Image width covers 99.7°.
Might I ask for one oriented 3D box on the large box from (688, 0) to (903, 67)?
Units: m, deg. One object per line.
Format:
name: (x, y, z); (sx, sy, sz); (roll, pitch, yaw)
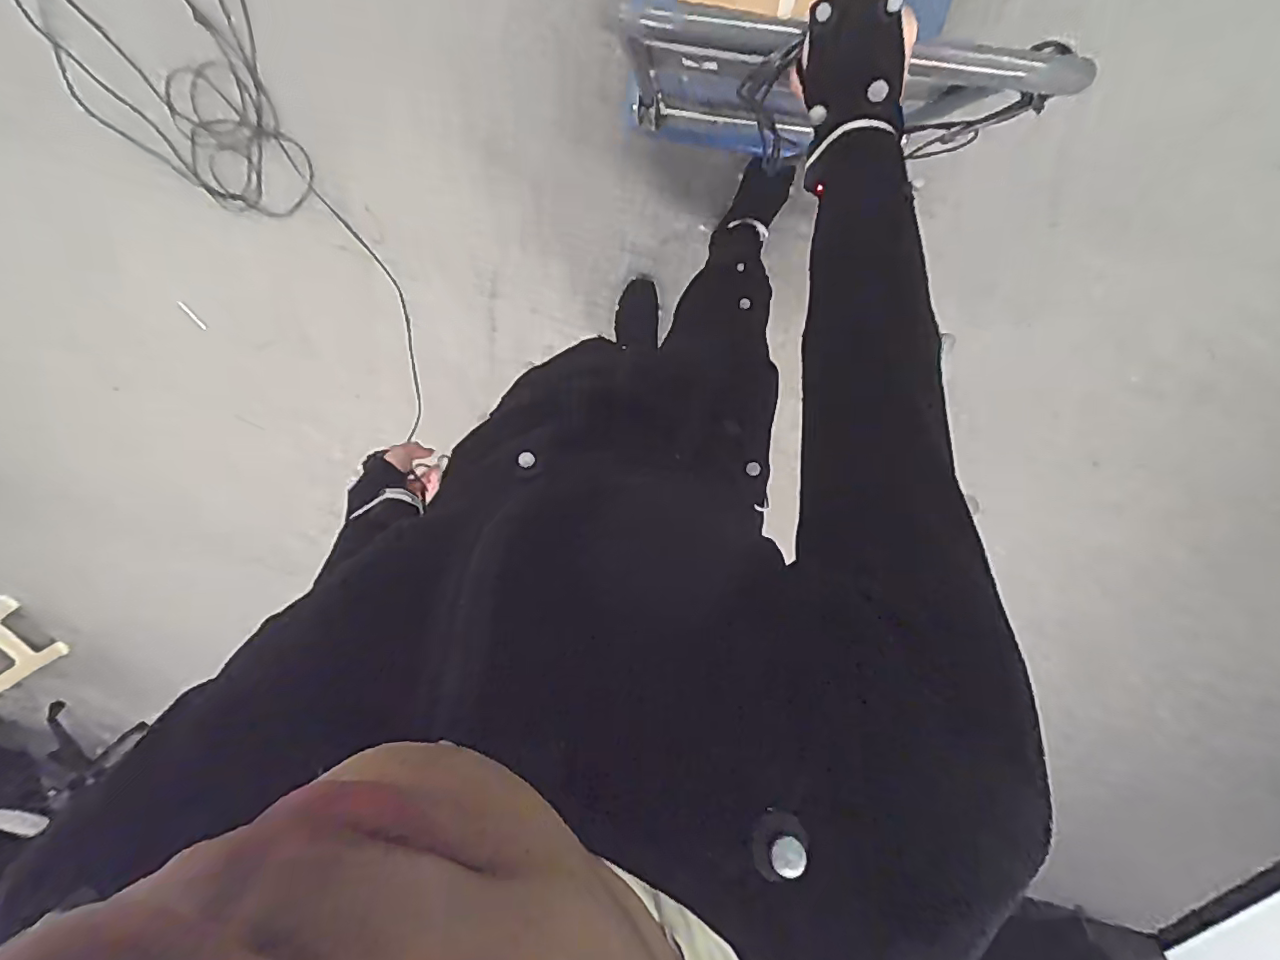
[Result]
large box: (0.257, -0.909, 0.807); (0.320, 0.320, 0.408); (11, 119, 0)
